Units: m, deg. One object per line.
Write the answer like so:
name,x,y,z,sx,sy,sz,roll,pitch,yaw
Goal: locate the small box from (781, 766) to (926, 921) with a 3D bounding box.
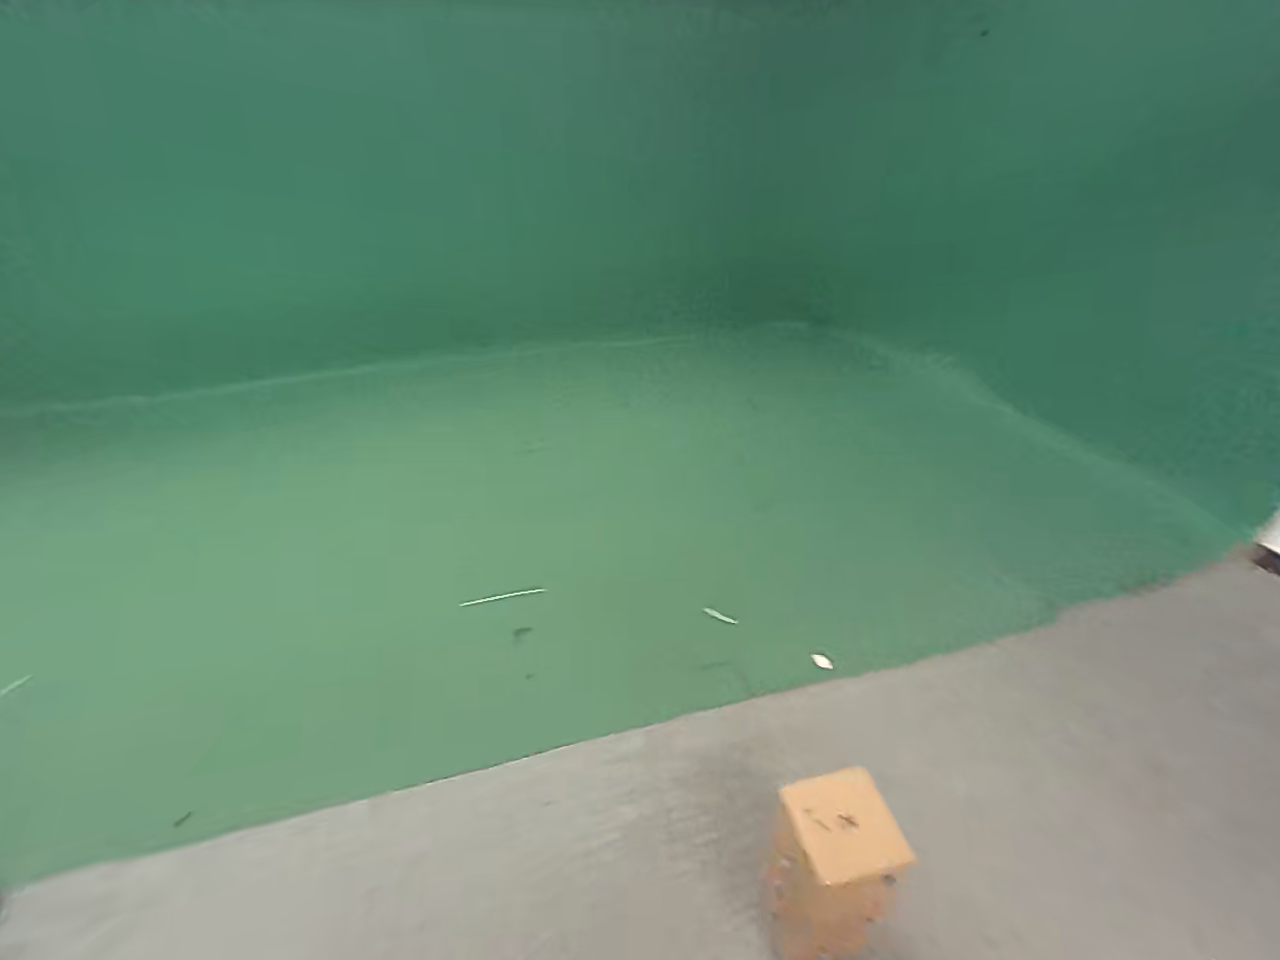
small box,0.376,0.661,0.987,0.179,0.176,0.168,-9,34,-8
